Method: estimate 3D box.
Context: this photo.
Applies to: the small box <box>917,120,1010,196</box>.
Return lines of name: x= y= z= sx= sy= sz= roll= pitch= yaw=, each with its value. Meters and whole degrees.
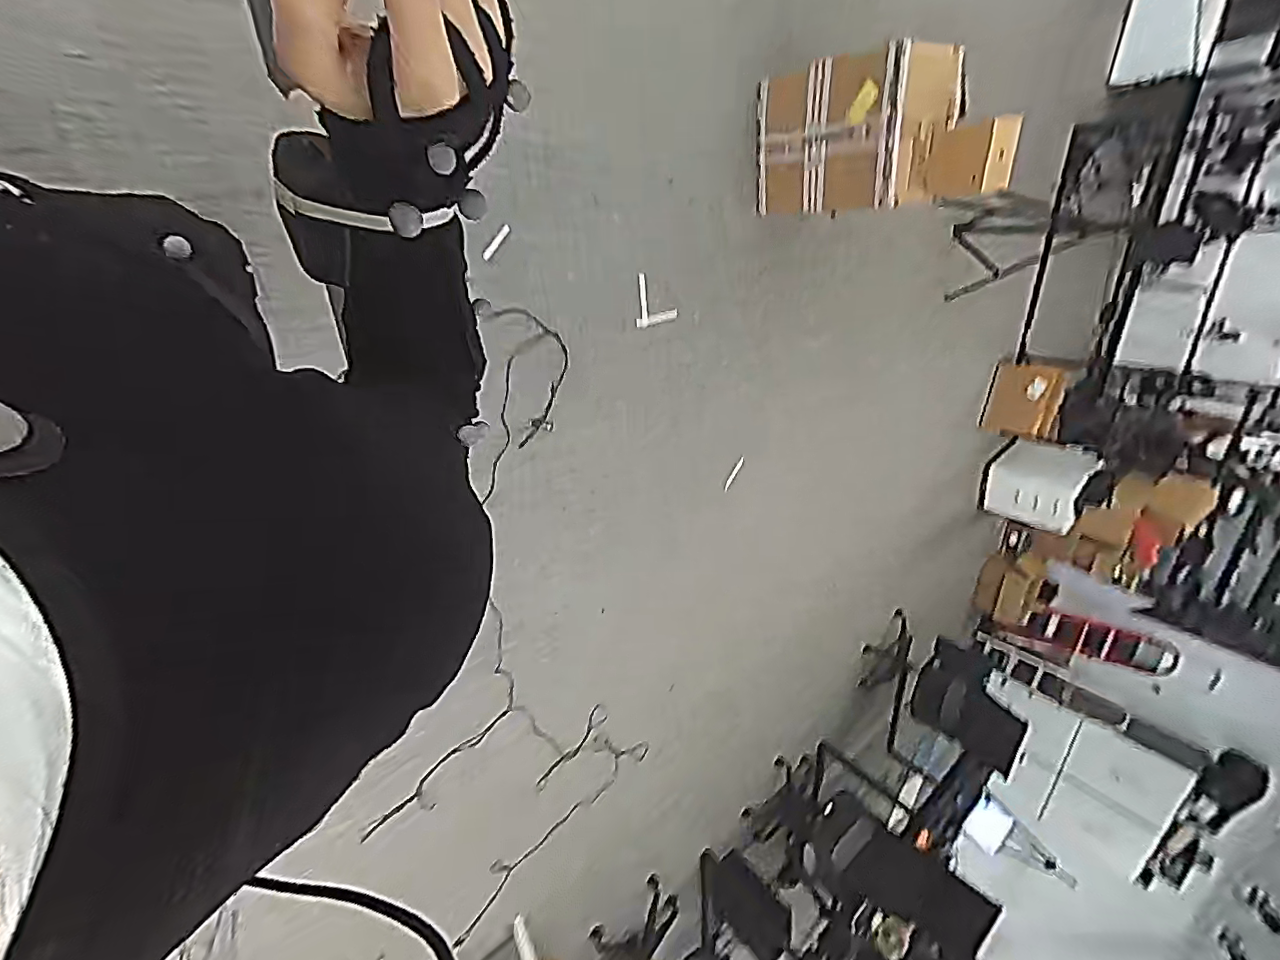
small box: x=0.946 y=-0.945 z=1.593 sx=0.168 sy=0.176 sz=0.179 roll=-25 pitch=125 yaw=-29
